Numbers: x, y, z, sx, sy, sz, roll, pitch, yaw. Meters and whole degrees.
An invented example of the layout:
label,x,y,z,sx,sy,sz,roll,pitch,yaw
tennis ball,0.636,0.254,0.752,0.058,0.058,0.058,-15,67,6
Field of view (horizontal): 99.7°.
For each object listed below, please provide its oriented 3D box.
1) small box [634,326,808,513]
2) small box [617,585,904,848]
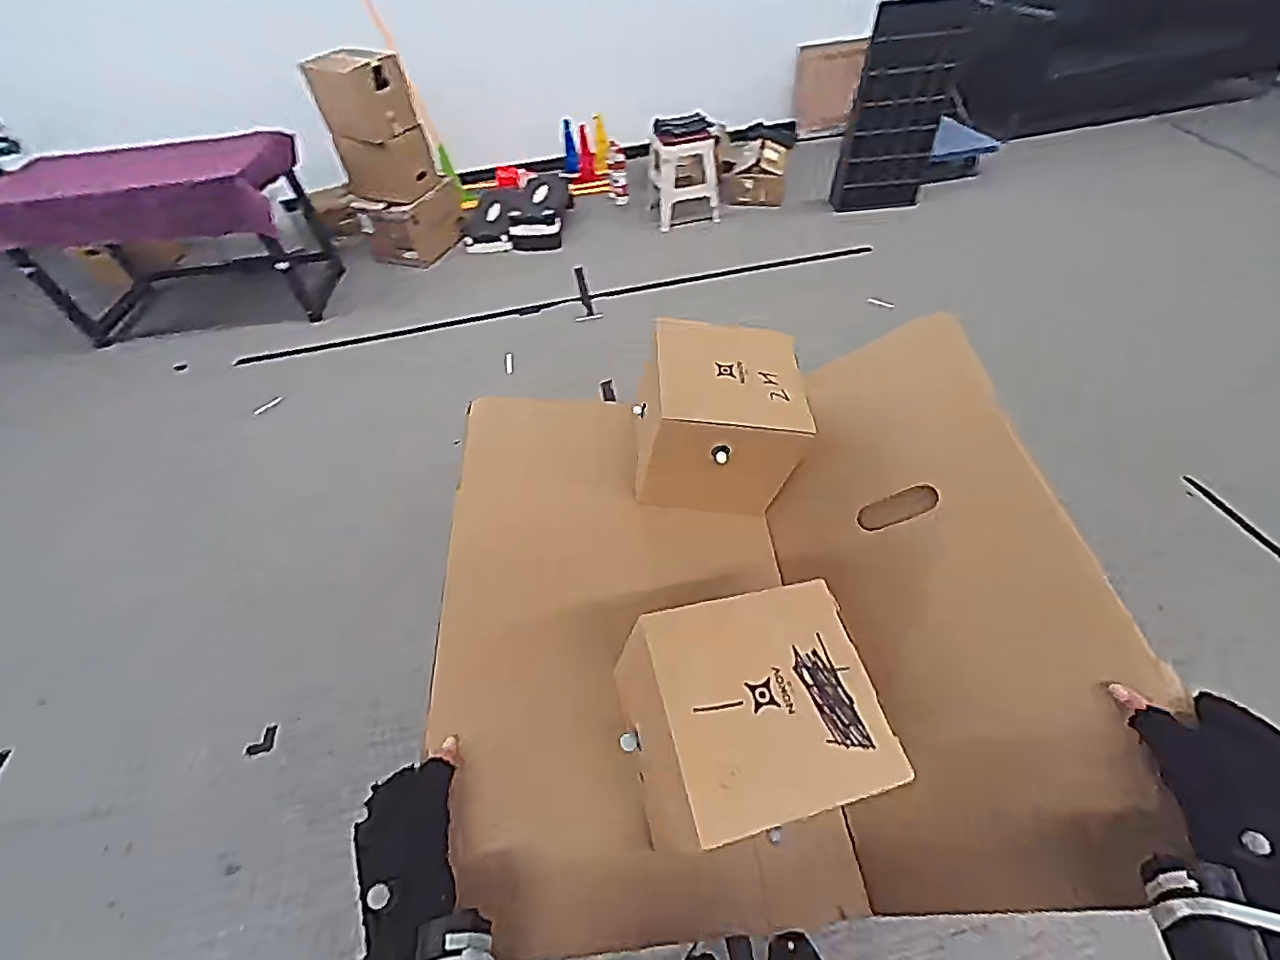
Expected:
label,x,y,z,sx,sy,sz,roll,pitch,yaw
small box,0.087,-0.071,0.696,0.179,0.176,0.168,5,55,-9
small box,0.089,0.216,0.495,0.179,0.176,0.168,-8,57,-16
